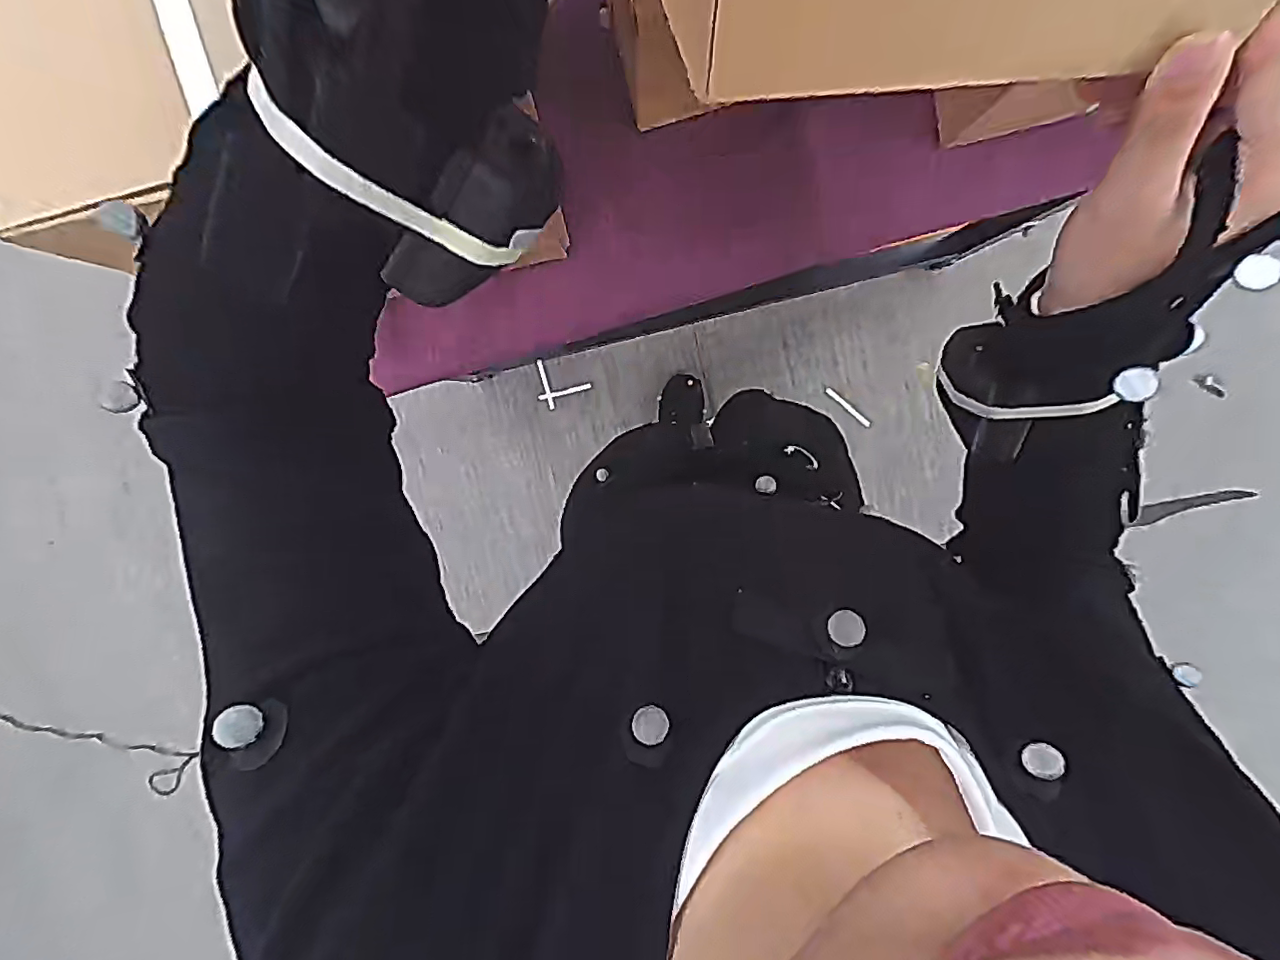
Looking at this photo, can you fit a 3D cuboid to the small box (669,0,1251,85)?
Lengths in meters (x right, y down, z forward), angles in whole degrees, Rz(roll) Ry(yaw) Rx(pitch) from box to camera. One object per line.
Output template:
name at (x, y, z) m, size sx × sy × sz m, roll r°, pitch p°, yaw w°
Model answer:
small box at (0.092, -0.239, 0.138) m, size 0.179 × 0.168 × 0.176 m, roll -7°, pitch 61°, yaw -4°

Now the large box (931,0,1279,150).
large box at (0.407, -0.547, 0.385) m, size 0.320 × 0.320 × 0.408 m, roll -13°, pitch 96°, yaw 5°
